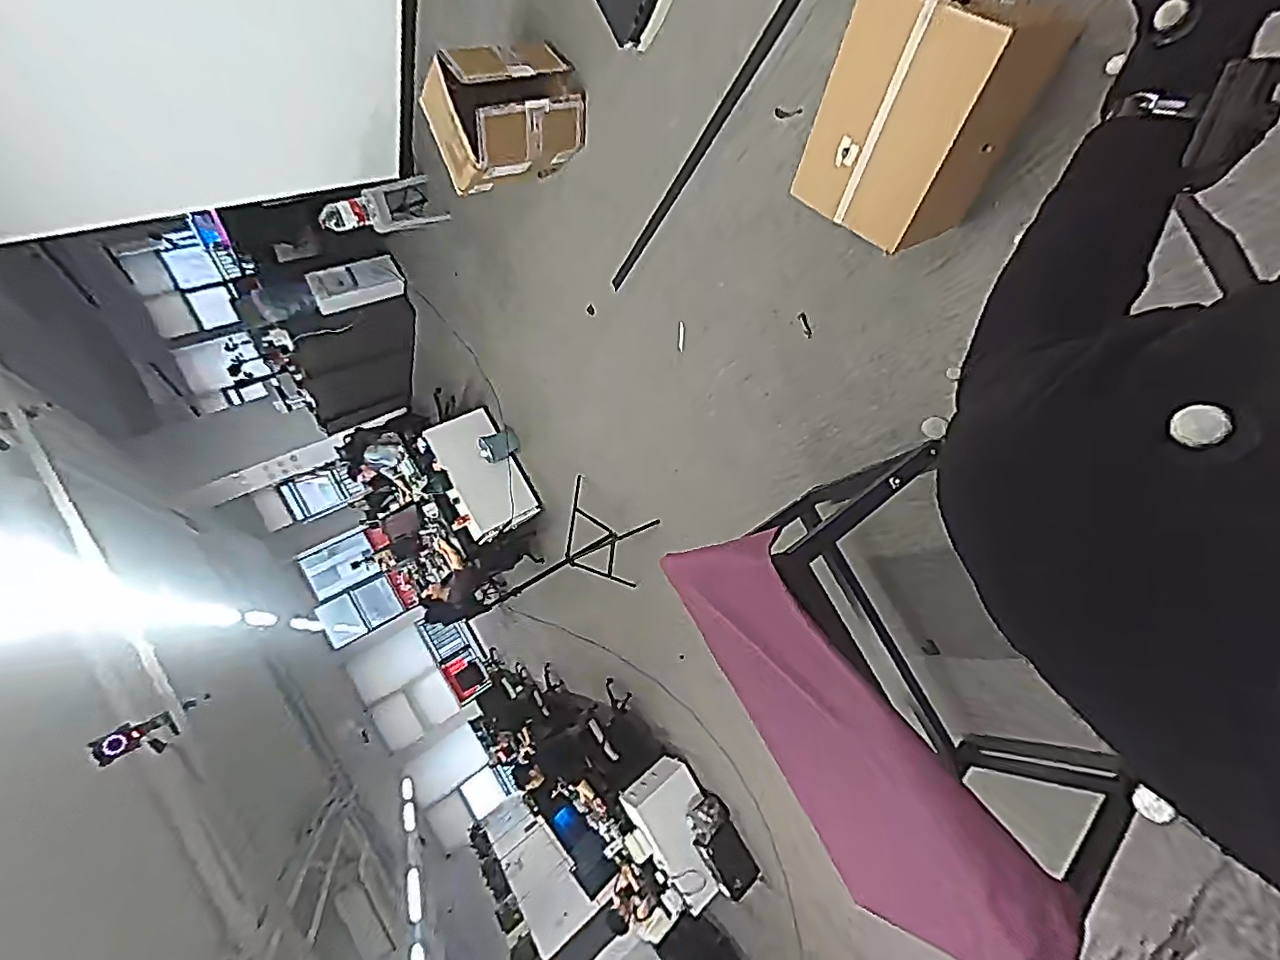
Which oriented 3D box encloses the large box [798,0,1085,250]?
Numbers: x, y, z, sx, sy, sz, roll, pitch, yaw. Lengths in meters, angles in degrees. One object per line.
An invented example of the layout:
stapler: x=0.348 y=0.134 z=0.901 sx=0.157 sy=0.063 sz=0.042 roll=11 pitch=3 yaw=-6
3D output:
large box: x=0.609 y=-0.787 z=1.155 sx=0.320 sy=0.320 sz=0.408 roll=47 pitch=150 yaw=25
